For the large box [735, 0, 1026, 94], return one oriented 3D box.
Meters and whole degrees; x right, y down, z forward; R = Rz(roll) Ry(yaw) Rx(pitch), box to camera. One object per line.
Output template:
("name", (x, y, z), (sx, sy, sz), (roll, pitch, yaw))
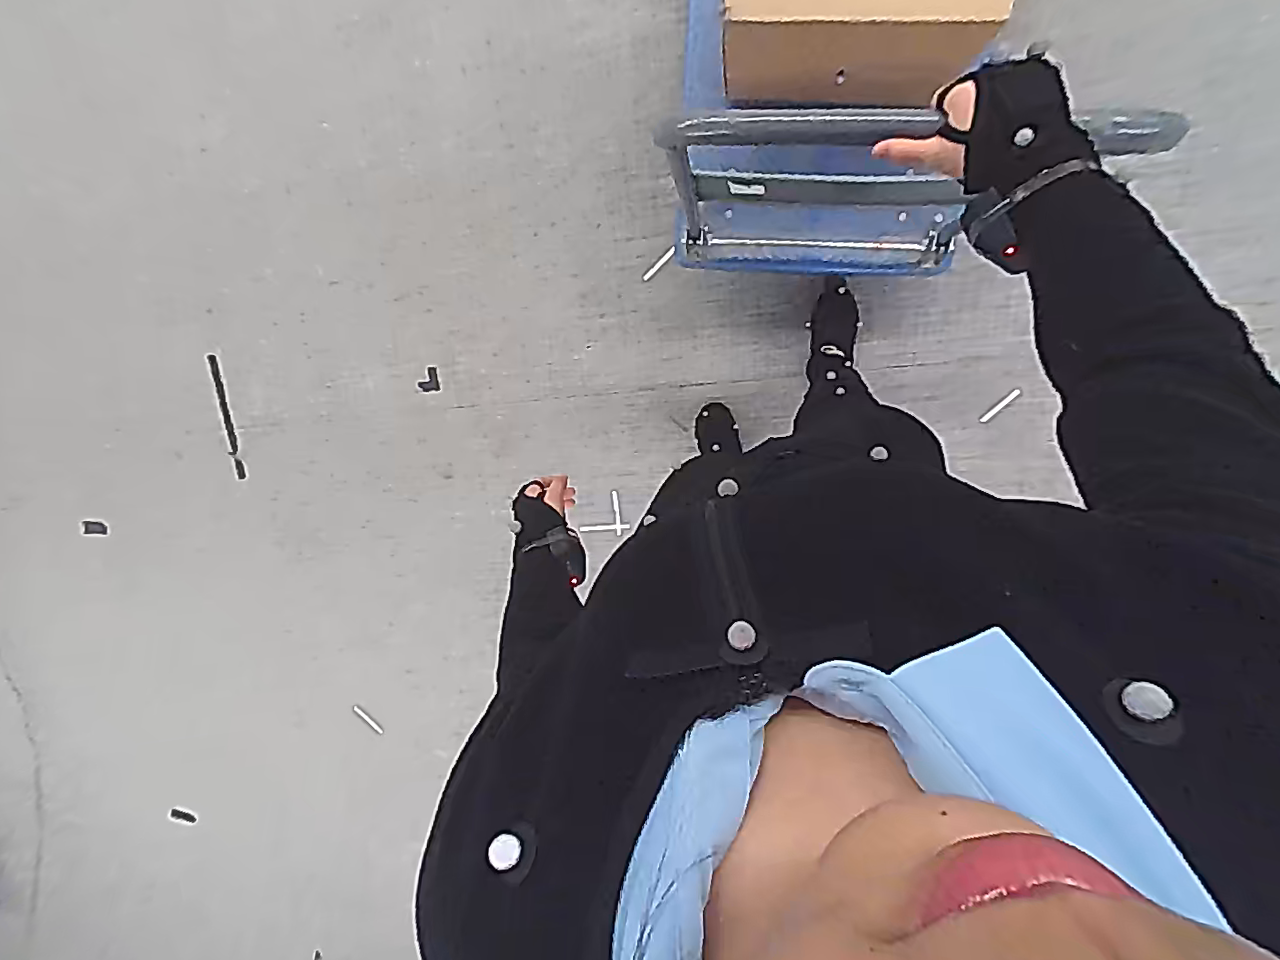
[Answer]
("large box", (0.380, -0.859, 0.871), (0.408, 0.320, 0.320), (9, 106, 9))
